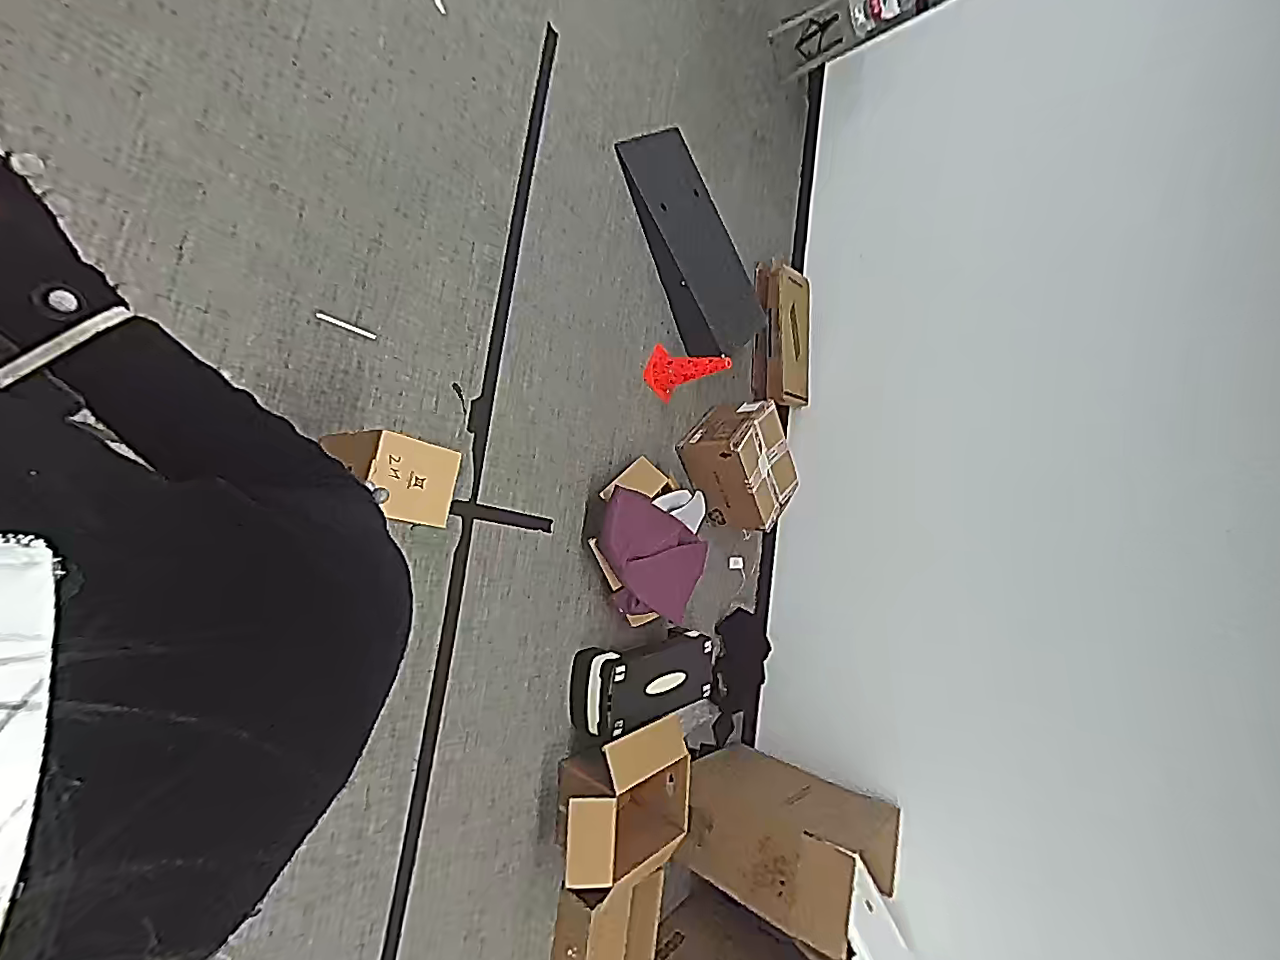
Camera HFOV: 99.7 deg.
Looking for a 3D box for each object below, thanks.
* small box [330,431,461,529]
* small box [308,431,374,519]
[{"bbox_3d":[-0.510,0.002,1.131,0.179,0.176,0.168,21,75,-46],"label":"small box"},{"bbox_3d":[-0.634,-0.005,1.239,0.168,0.176,0.179,16,79,-47],"label":"small box"}]
